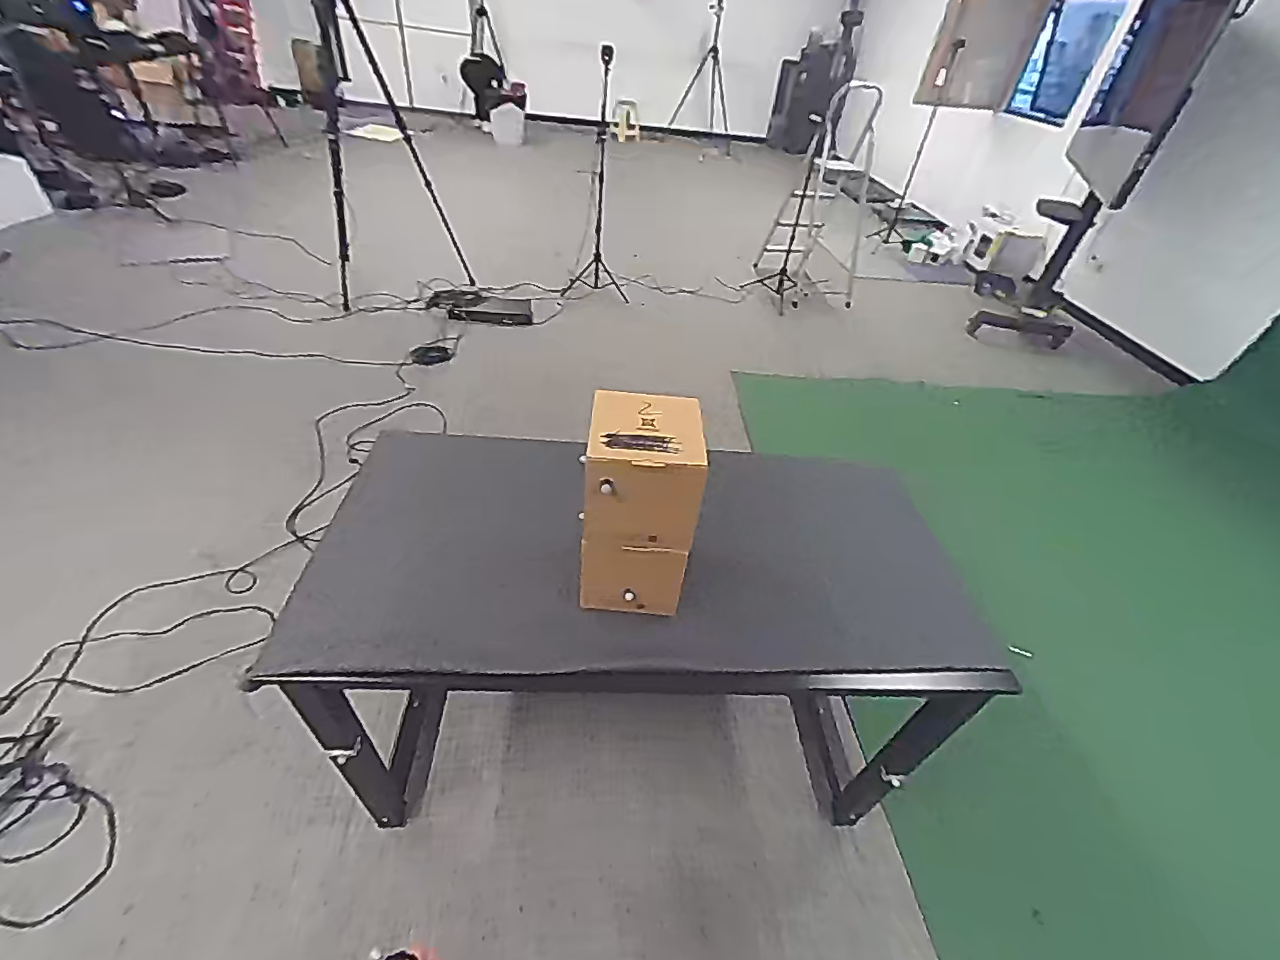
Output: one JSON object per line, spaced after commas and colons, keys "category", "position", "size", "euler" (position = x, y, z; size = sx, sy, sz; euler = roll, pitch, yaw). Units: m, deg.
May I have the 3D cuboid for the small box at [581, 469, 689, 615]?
{"category": "small box", "position": [-0.011, 0.106, 0.935], "size": [0.168, 0.176, 0.179], "euler": [5, 40, -2]}
